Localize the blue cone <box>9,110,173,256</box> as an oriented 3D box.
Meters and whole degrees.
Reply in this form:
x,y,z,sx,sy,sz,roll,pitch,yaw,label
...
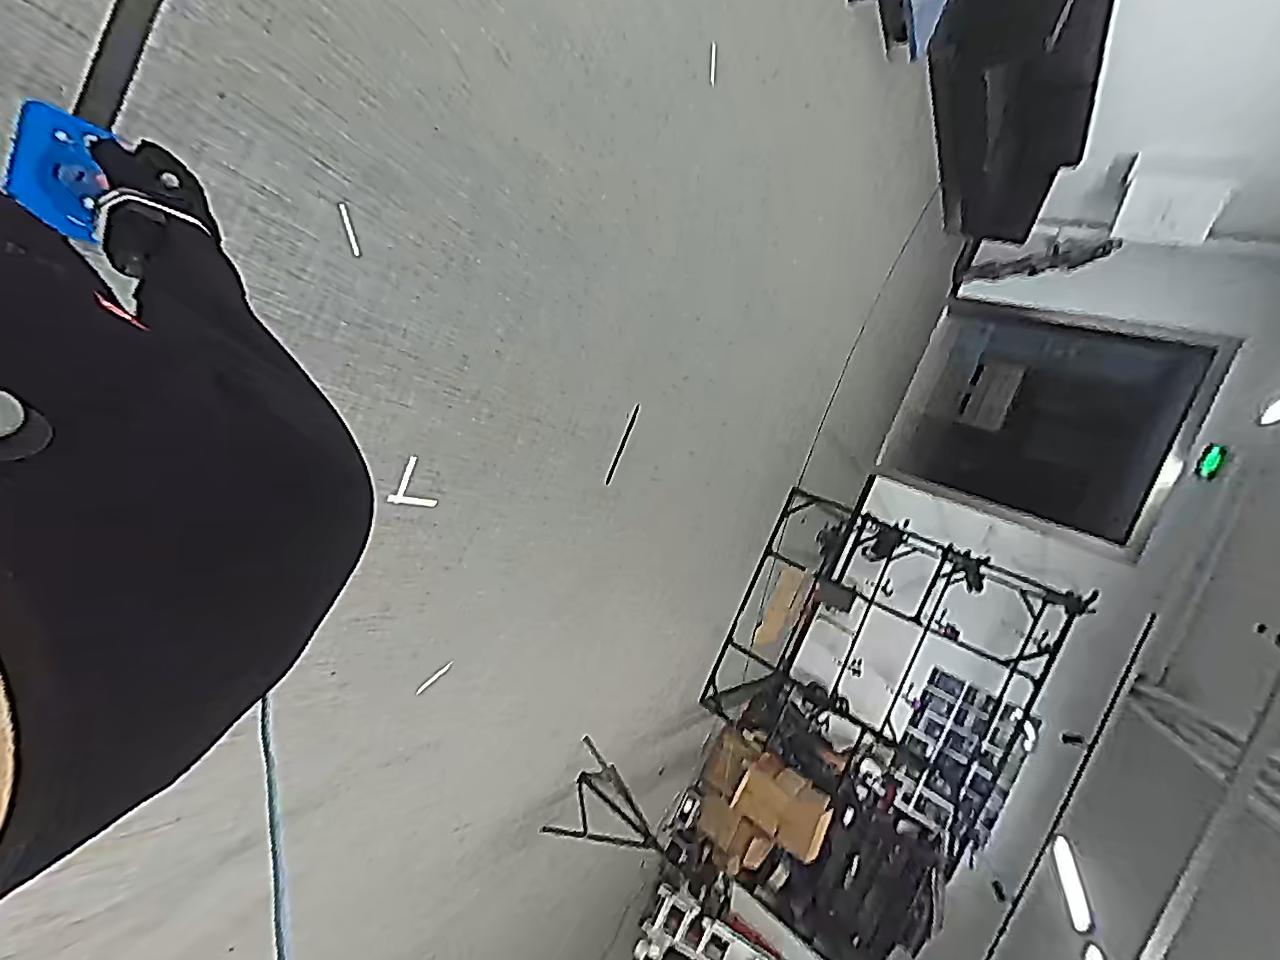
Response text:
x,y,z,sx,sy,sz,roll,pitch,yaw,label
-0.866,-0.472,0.894,0.192,0.380,0.193,12,101,-58,blue cone
